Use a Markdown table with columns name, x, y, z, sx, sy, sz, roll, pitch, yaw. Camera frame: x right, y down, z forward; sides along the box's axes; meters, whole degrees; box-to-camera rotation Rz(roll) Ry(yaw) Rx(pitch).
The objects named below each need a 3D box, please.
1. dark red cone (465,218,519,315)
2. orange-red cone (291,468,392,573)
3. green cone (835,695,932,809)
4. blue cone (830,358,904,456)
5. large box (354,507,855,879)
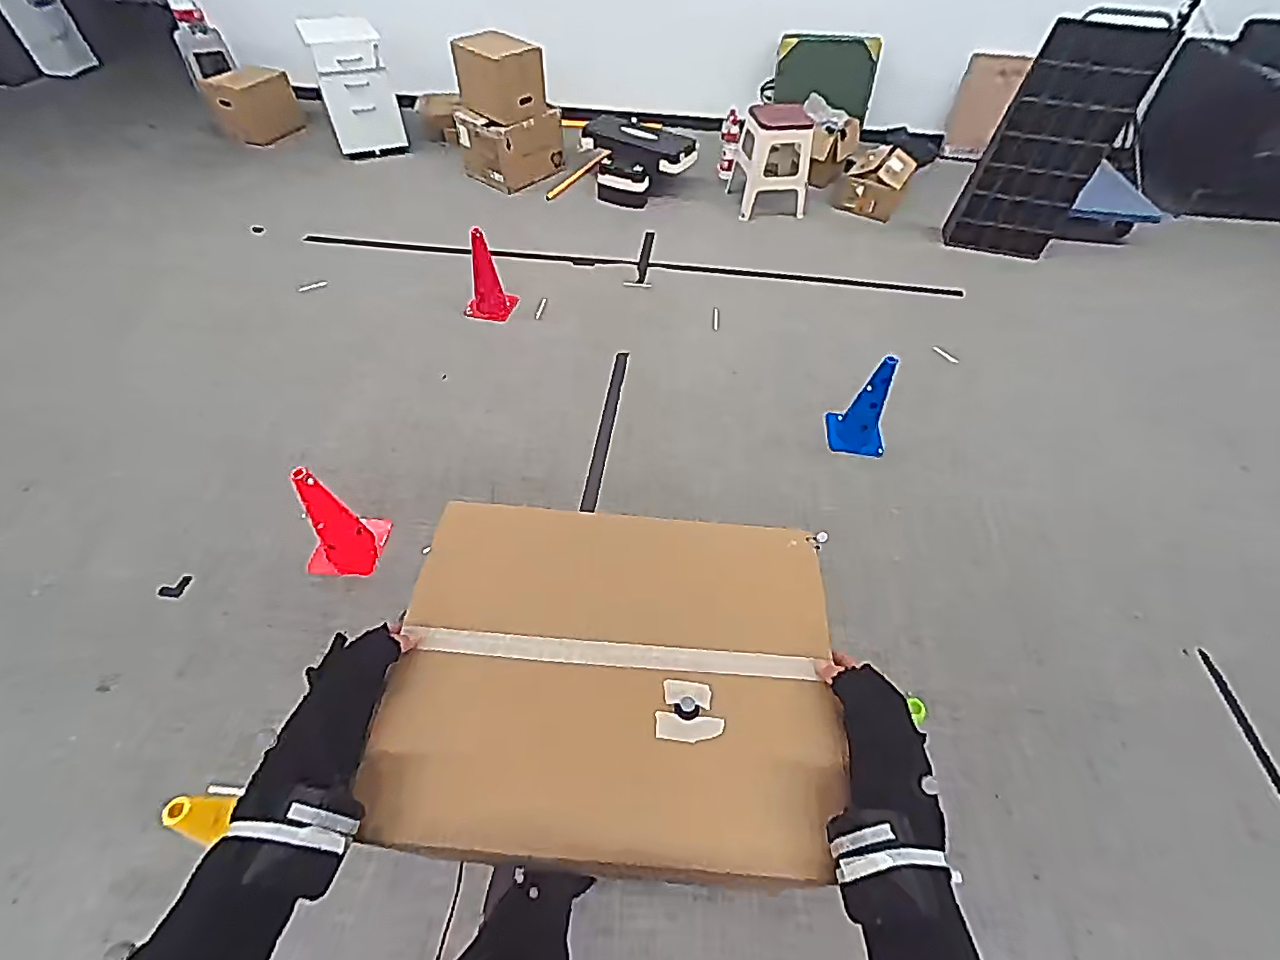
| name | x | y | z | sx | sy | sz | roll | pitch | yaw |
| --- | --- | --- | --- | --- | --- | --- | --- | --- | --- |
| dark red cone | -0.661 | -0.918 | 2.317 | 0.201 | 0.394 | 0.202 | 12 | 52 | 5 |
| orange-red cone | -0.880 | 0.092 | 1.527 | 0.198 | 0.360 | 0.199 | 4 | 53 | 2 |
| green cone | 0.548 | 0.565 | 1.209 | 0.202 | 0.368 | 0.200 | -23 | 57 | -22 |
| blue cone | 0.827 | -0.273 | 1.918 | 0.192 | 0.380 | 0.193 | 10 | 52 | 4 |
| large box | -0.027 | 0.255 | 0.628 | 0.408 | 0.320 | 0.320 | 5 | 52 | 0 |
